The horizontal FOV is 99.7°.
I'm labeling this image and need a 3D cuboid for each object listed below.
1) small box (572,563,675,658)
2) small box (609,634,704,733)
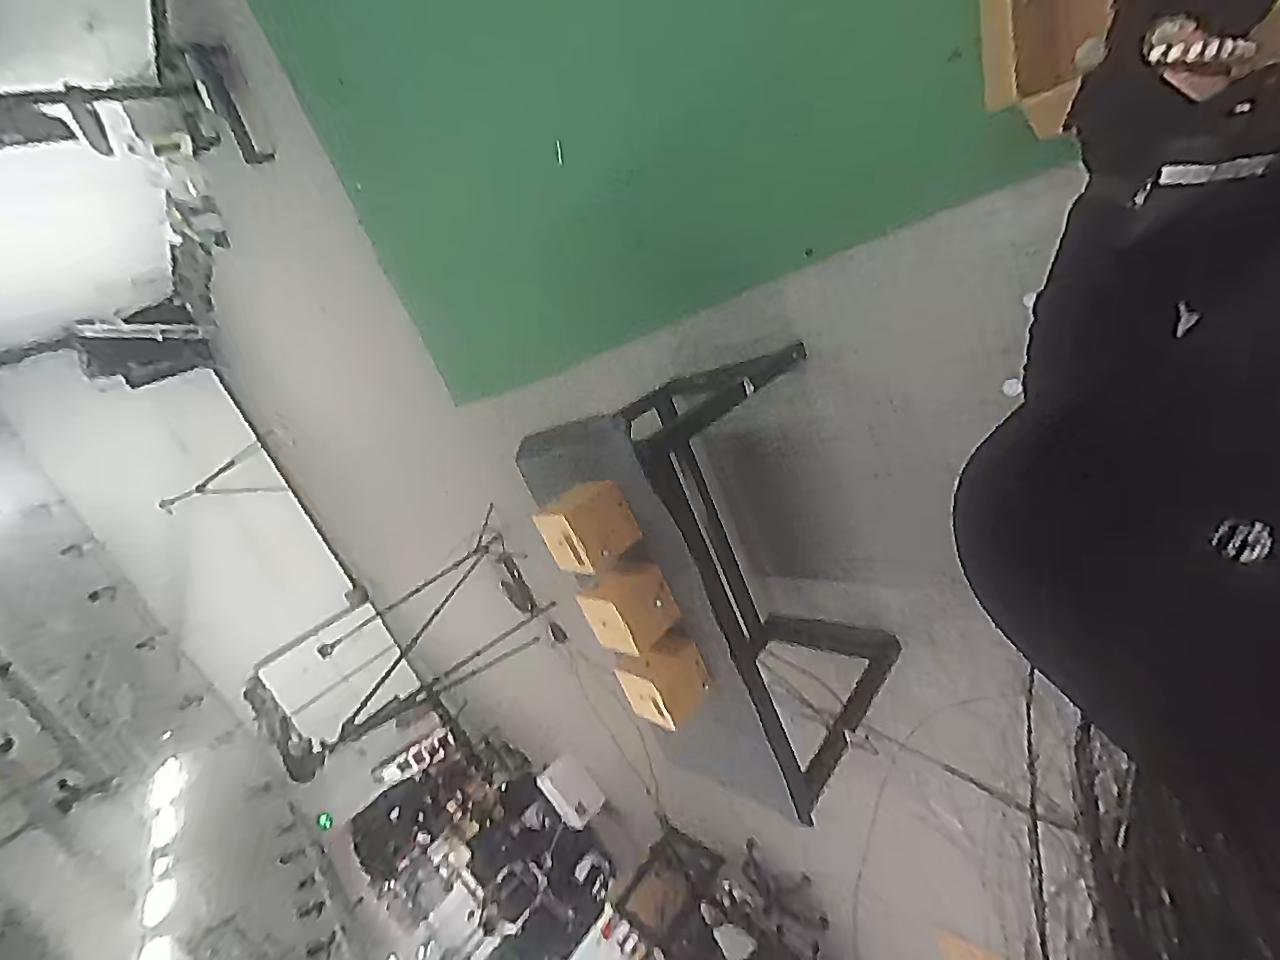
[{"bbox_3d":[-0.040,0.331,1.412,0.179,0.176,0.168,-6,114,50],"label":"small box"},{"bbox_3d":[0.055,0.545,1.475,0.179,0.176,0.168,-3,115,50],"label":"small box"}]
